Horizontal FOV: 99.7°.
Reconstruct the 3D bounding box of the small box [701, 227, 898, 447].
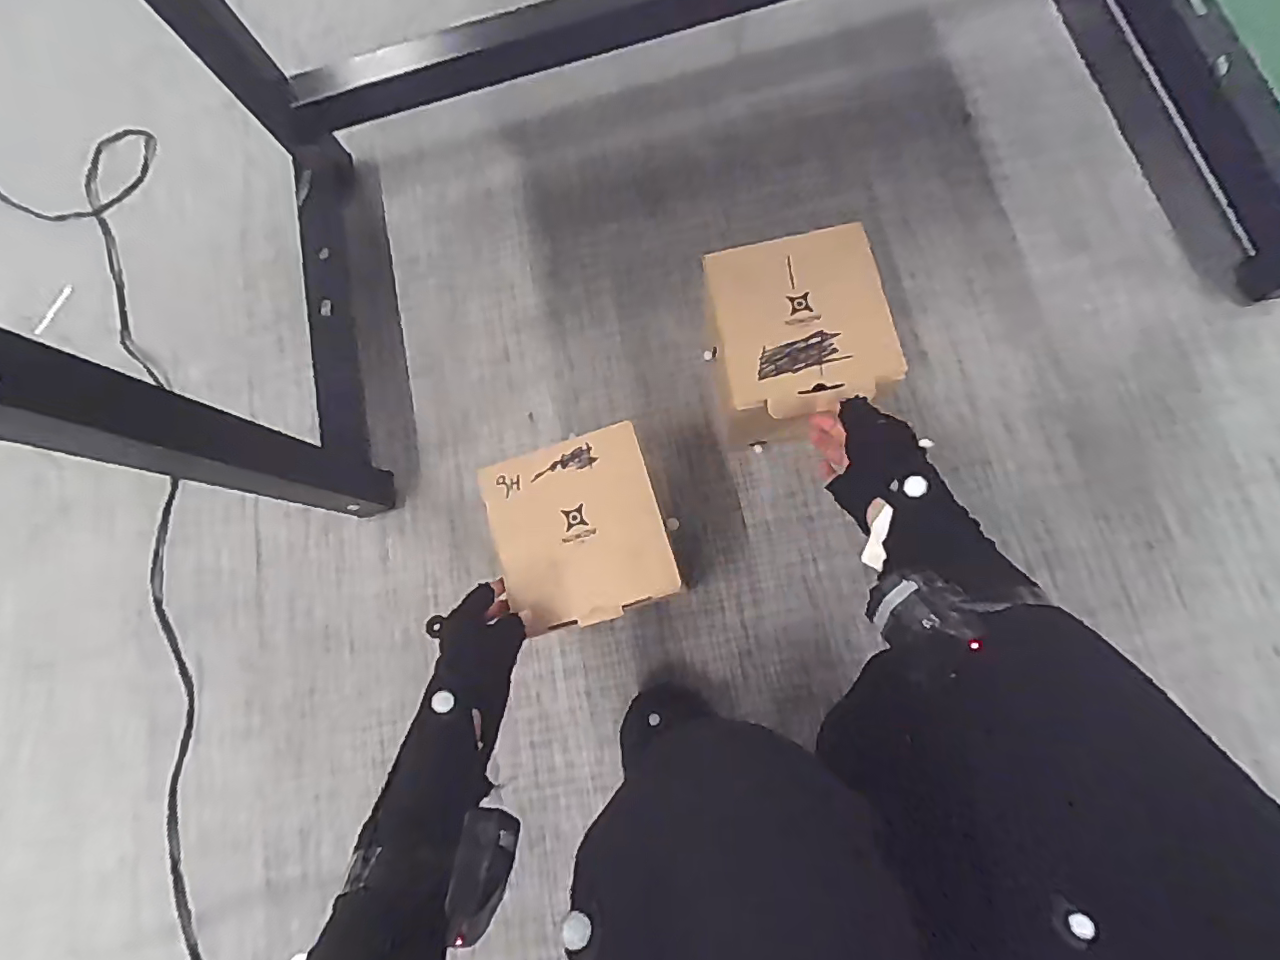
[{"bbox_3d":[0.167,-0.146,0.618,0.168,0.176,0.179,-10,76,6],"label":"small box"}]
